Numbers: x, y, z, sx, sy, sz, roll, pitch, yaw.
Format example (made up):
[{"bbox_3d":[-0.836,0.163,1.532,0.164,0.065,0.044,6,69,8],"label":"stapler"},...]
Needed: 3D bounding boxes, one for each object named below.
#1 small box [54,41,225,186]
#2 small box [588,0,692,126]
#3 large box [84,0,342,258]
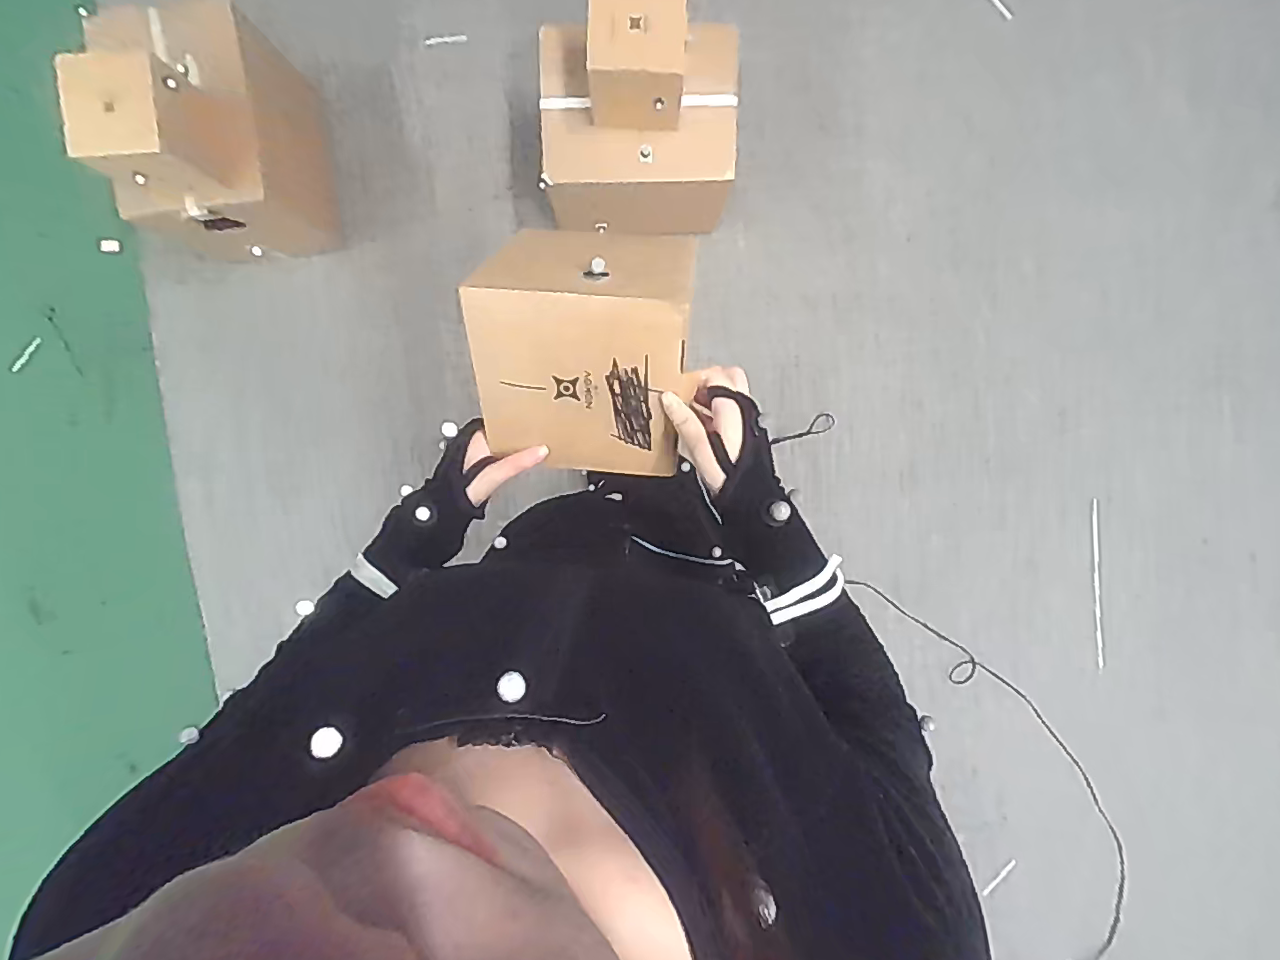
[{"bbox_3d":[-0.929,-0.677,1.022,0.168,0.176,0.179,-3,94,-1],"label":"small box"},{"bbox_3d":[-0.001,-0.798,1.016,0.179,0.176,0.168,3,93,0],"label":"small box"},{"bbox_3d":[-0.954,-0.784,1.258,0.320,0.320,0.408,-6,95,1],"label":"large box"}]
